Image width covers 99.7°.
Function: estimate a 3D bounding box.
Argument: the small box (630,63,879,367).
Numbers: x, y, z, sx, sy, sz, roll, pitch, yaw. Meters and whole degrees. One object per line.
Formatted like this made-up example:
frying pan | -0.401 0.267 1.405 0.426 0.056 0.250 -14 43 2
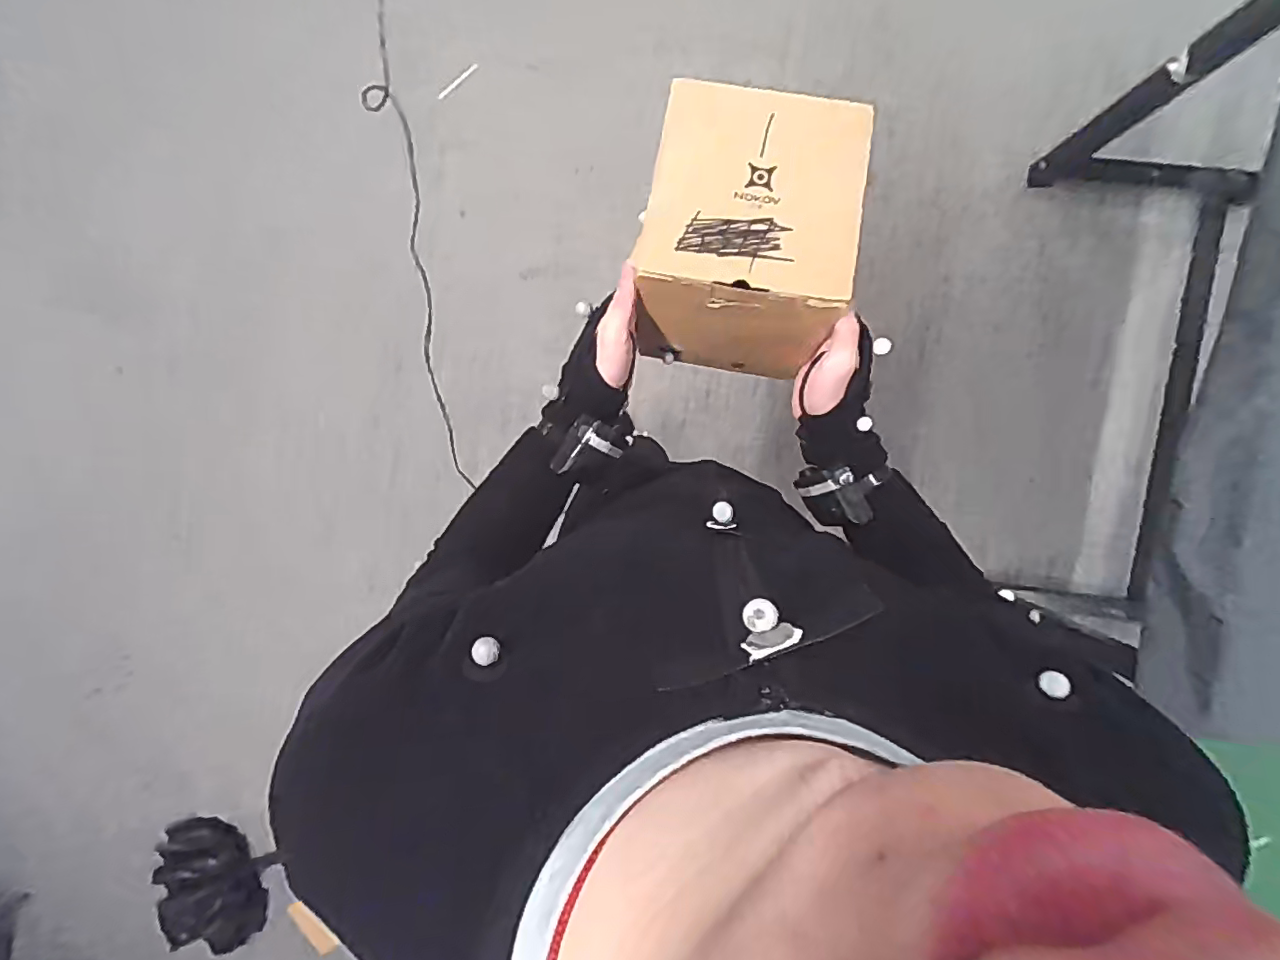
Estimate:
small box | 0.092 -0.220 0.491 0.168 0.176 0.179 11 81 3
